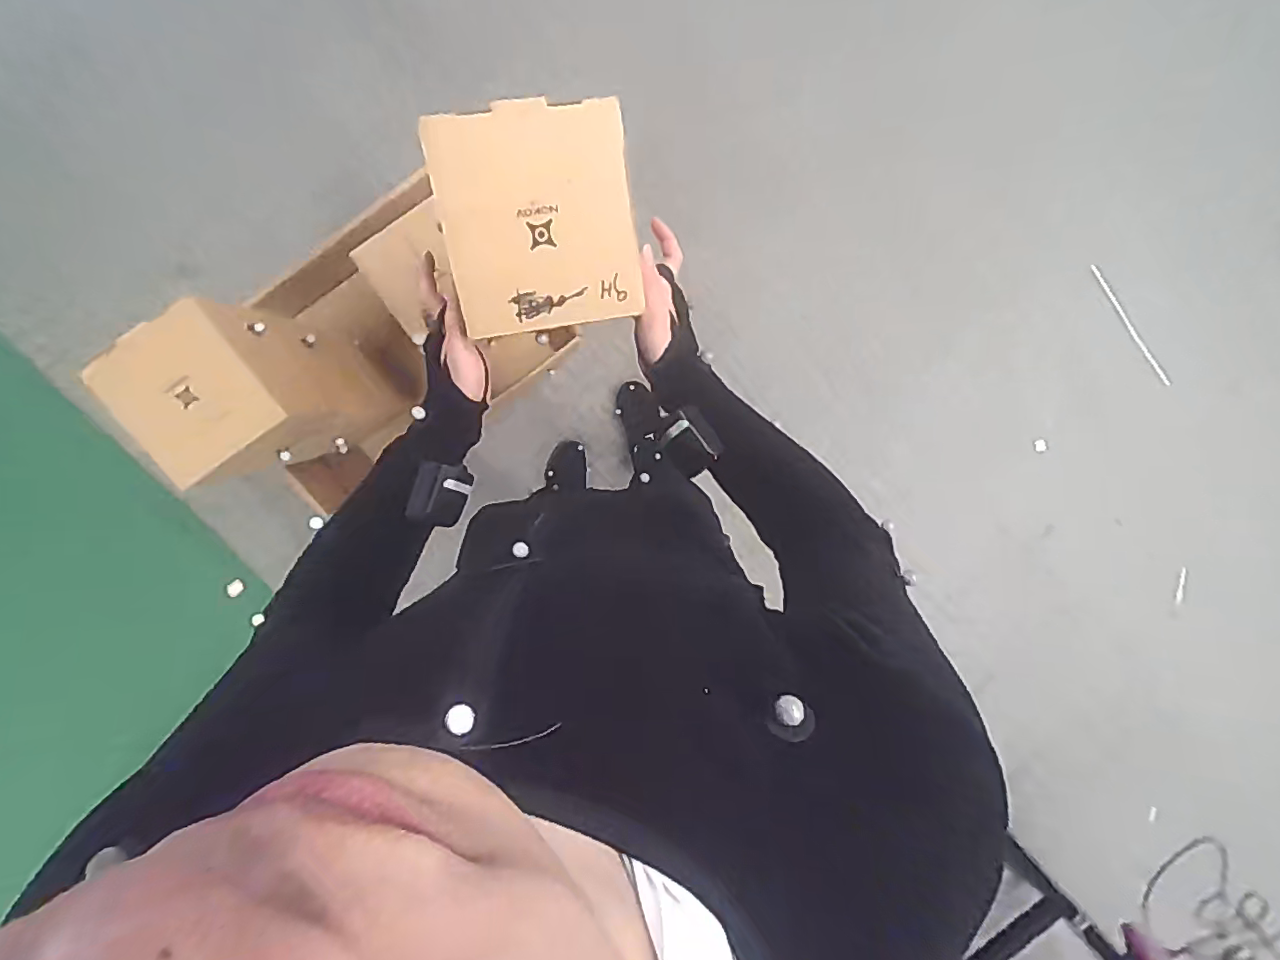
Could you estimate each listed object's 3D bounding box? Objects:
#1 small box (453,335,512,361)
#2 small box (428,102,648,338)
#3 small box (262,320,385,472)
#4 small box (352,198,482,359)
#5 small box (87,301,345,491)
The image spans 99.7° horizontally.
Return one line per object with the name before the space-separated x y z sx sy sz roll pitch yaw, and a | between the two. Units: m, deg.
small box | -0.335 -0.347 1.047 0.168 0.176 0.179 -36 101 1
small box | -0.093 -0.241 0.536 0.168 0.176 0.179 -9 109 -5
small box | -0.566 -0.136 0.893 0.168 0.176 0.179 -34 100 2
small box | -0.319 -0.314 0.887 0.168 0.176 0.179 -35 100 0
small box | -0.551 -0.110 0.733 0.168 0.176 0.179 -34 100 2
